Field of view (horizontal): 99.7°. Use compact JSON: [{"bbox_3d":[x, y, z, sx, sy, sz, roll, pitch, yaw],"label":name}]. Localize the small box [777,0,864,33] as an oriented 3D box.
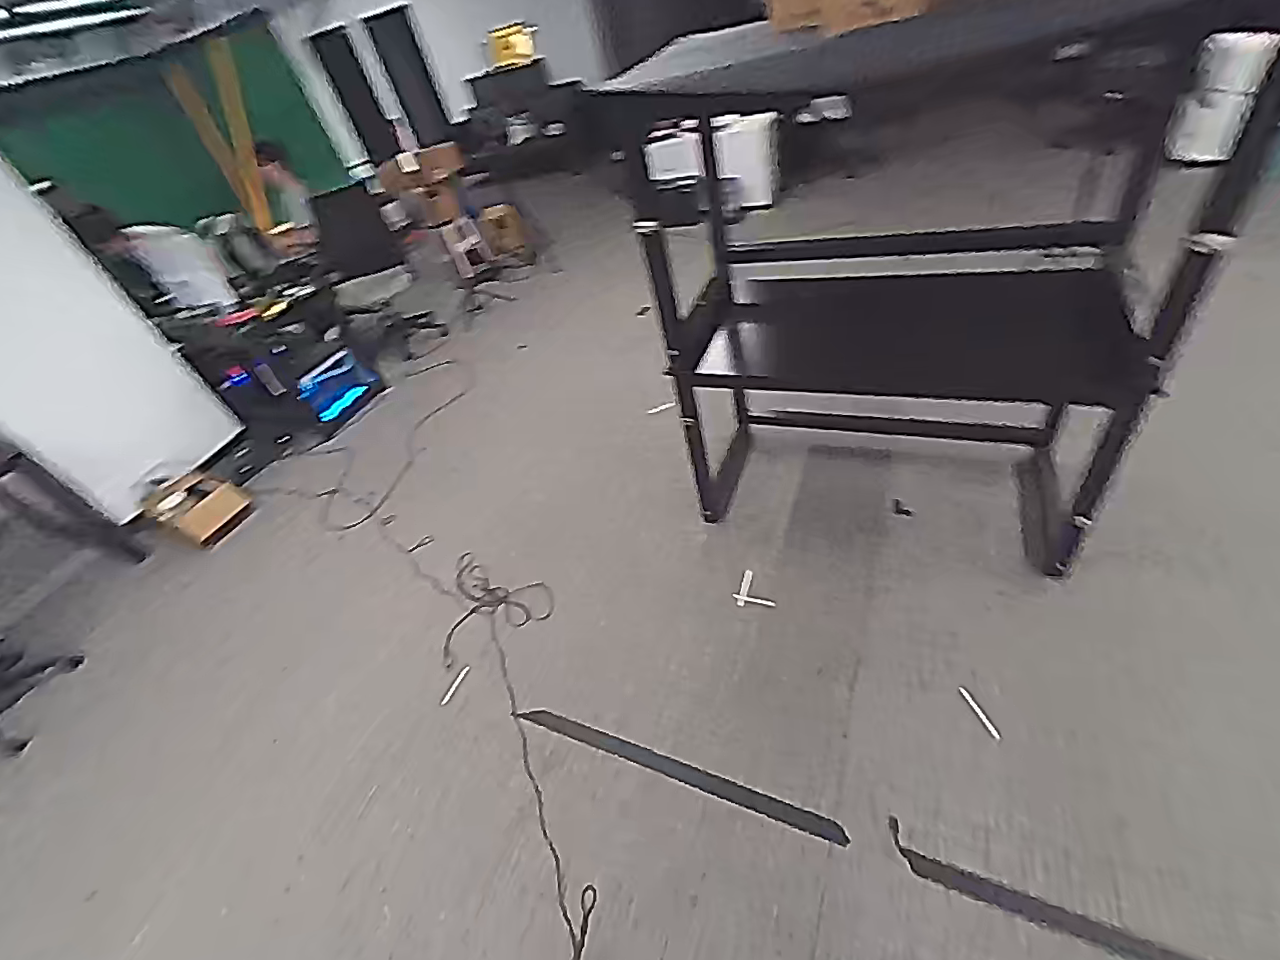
[{"bbox_3d":[0.411,-1.142,1.224,0.168,0.176,0.179,12,49,29],"label":"small box"}]
